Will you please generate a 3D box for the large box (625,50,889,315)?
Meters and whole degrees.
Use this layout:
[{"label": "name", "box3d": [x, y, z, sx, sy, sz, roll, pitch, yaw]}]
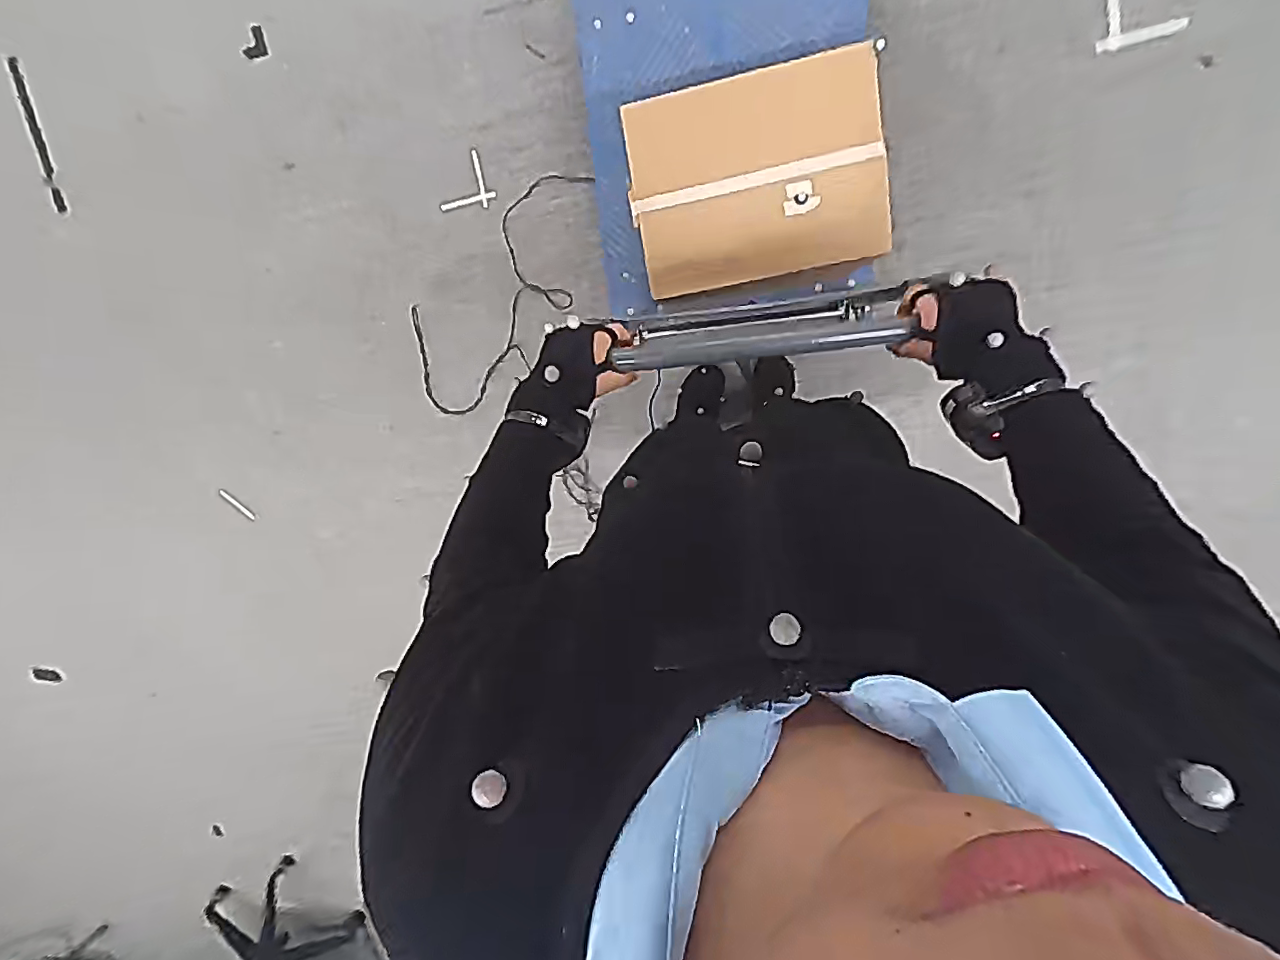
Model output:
[{"label": "large box", "box3d": [0.209, -0.523, 1.043, 0.408, 0.320, 0.320, -9, 103, 8]}]
